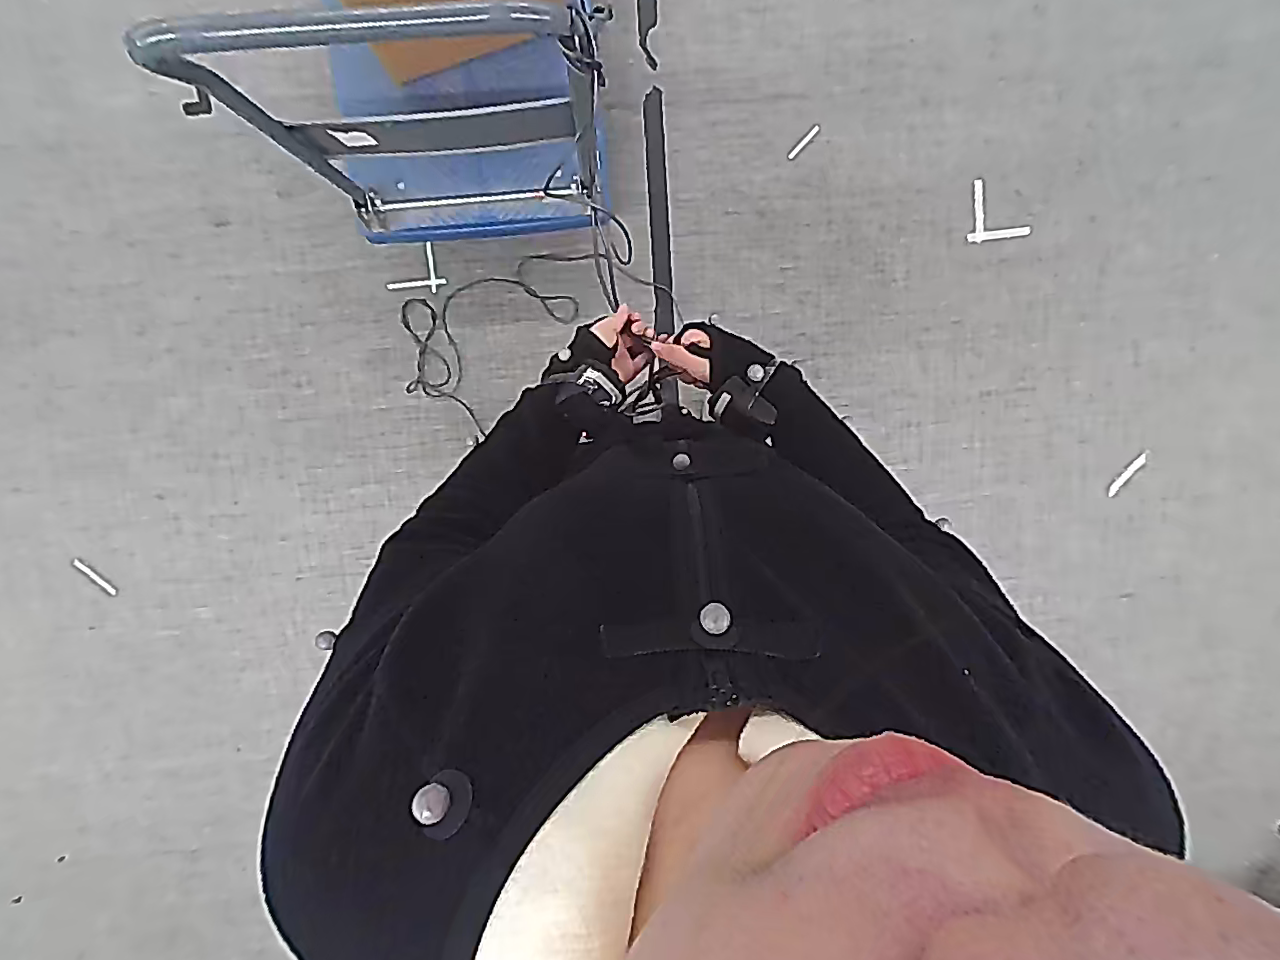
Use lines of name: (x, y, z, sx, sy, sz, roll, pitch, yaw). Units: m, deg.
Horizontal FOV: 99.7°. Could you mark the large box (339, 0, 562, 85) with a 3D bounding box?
large box: (-0.396, -1.048, 1.015, 0.408, 0.320, 0.320, -20, 98, -1)
